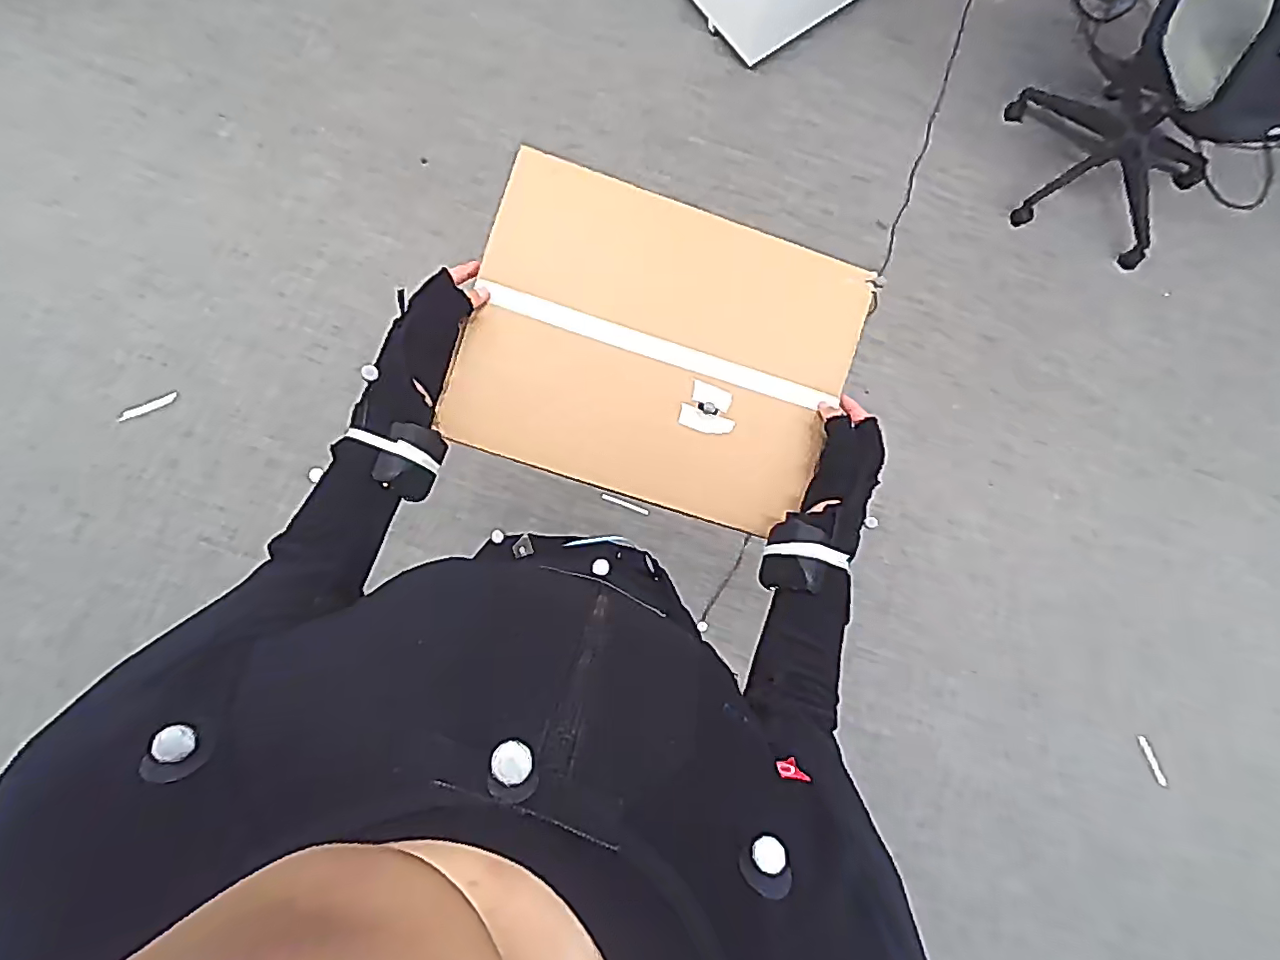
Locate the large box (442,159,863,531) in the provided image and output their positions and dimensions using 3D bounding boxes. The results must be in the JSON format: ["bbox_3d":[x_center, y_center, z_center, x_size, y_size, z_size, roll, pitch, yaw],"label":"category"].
[{"bbox_3d":[0.006,-0.143,0.736,0.408,0.320,0.320,18,90,-5],"label":"large box"}]
